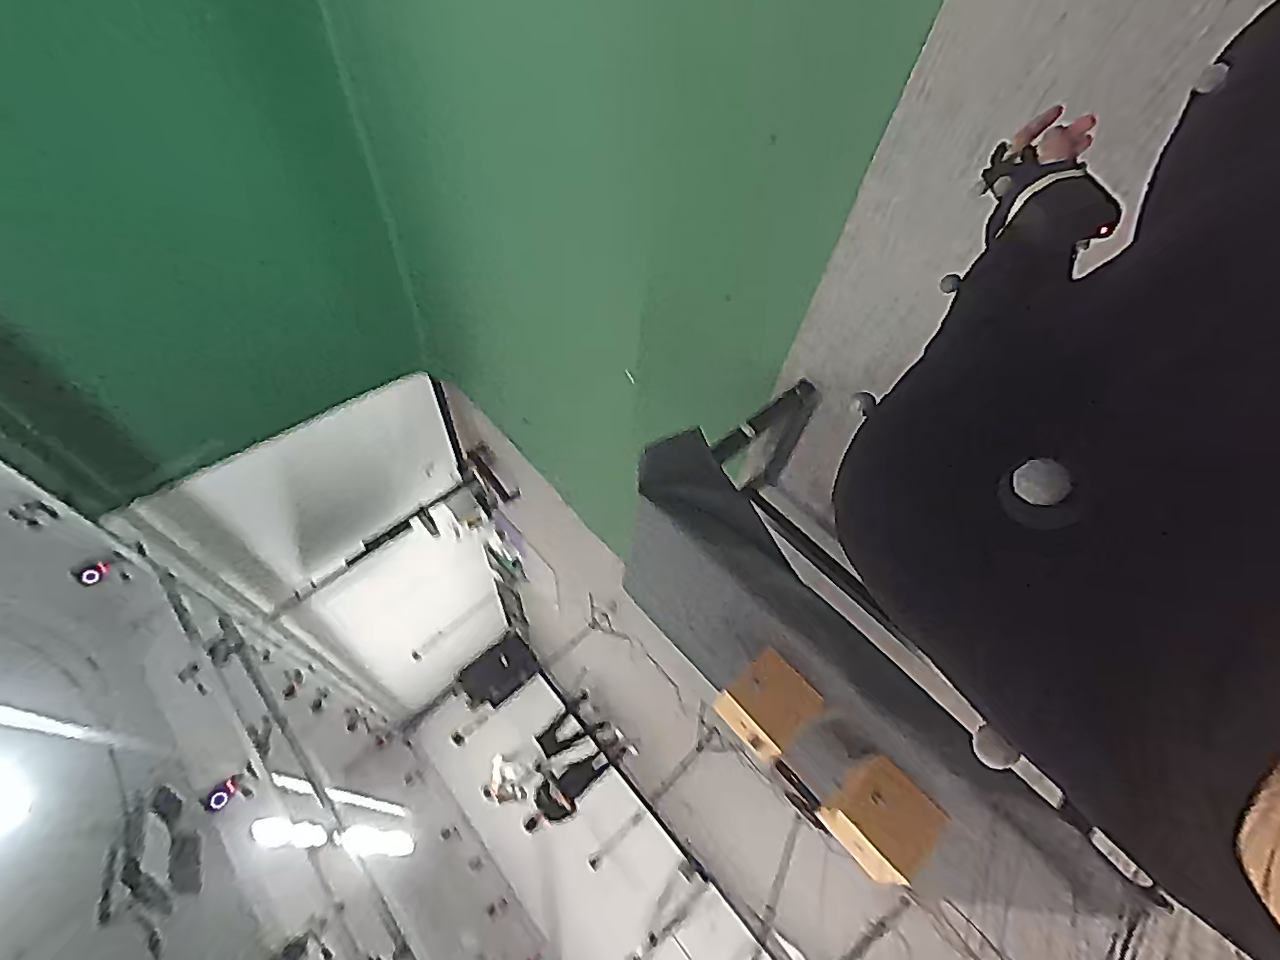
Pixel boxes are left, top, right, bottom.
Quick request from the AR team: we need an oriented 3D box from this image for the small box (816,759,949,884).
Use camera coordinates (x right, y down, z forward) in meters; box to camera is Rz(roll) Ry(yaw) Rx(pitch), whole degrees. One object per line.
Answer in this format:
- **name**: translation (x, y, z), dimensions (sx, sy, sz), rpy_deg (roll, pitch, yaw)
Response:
- **small box**: translation (0.534, 0.747, 1.199), dimensions (0.179, 0.176, 0.168), rpy_deg (42, 152, 22)
